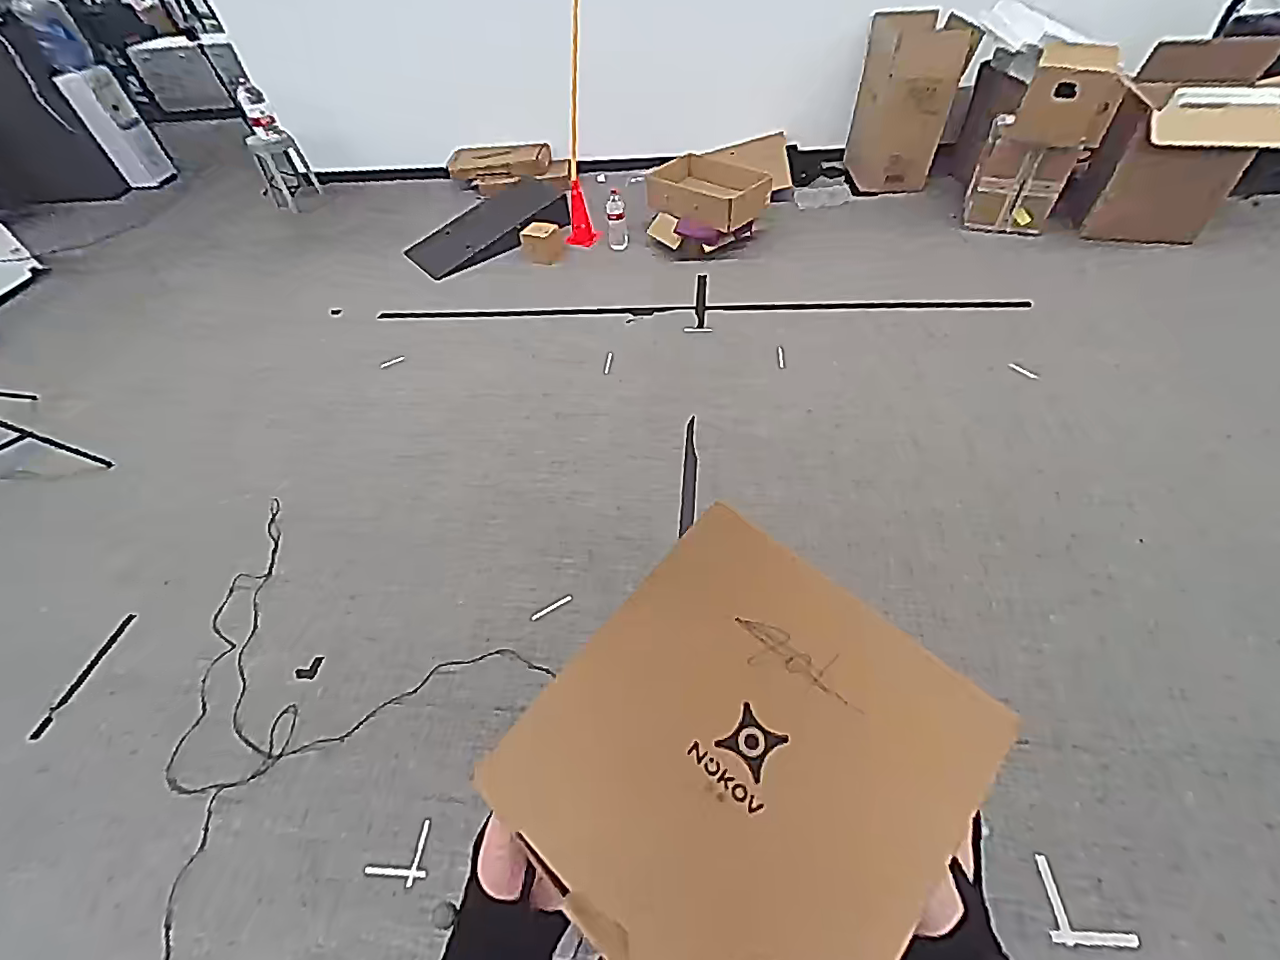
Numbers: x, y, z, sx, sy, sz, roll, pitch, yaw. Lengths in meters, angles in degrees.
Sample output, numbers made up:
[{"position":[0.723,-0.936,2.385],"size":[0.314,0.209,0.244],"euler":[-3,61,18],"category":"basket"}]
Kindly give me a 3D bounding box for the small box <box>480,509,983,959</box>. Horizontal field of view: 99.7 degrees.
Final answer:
[{"position":[0.045,0.156,0.316],"size":[0.168,0.176,0.179],"euler":[36,68,19],"category":"small box"}]
